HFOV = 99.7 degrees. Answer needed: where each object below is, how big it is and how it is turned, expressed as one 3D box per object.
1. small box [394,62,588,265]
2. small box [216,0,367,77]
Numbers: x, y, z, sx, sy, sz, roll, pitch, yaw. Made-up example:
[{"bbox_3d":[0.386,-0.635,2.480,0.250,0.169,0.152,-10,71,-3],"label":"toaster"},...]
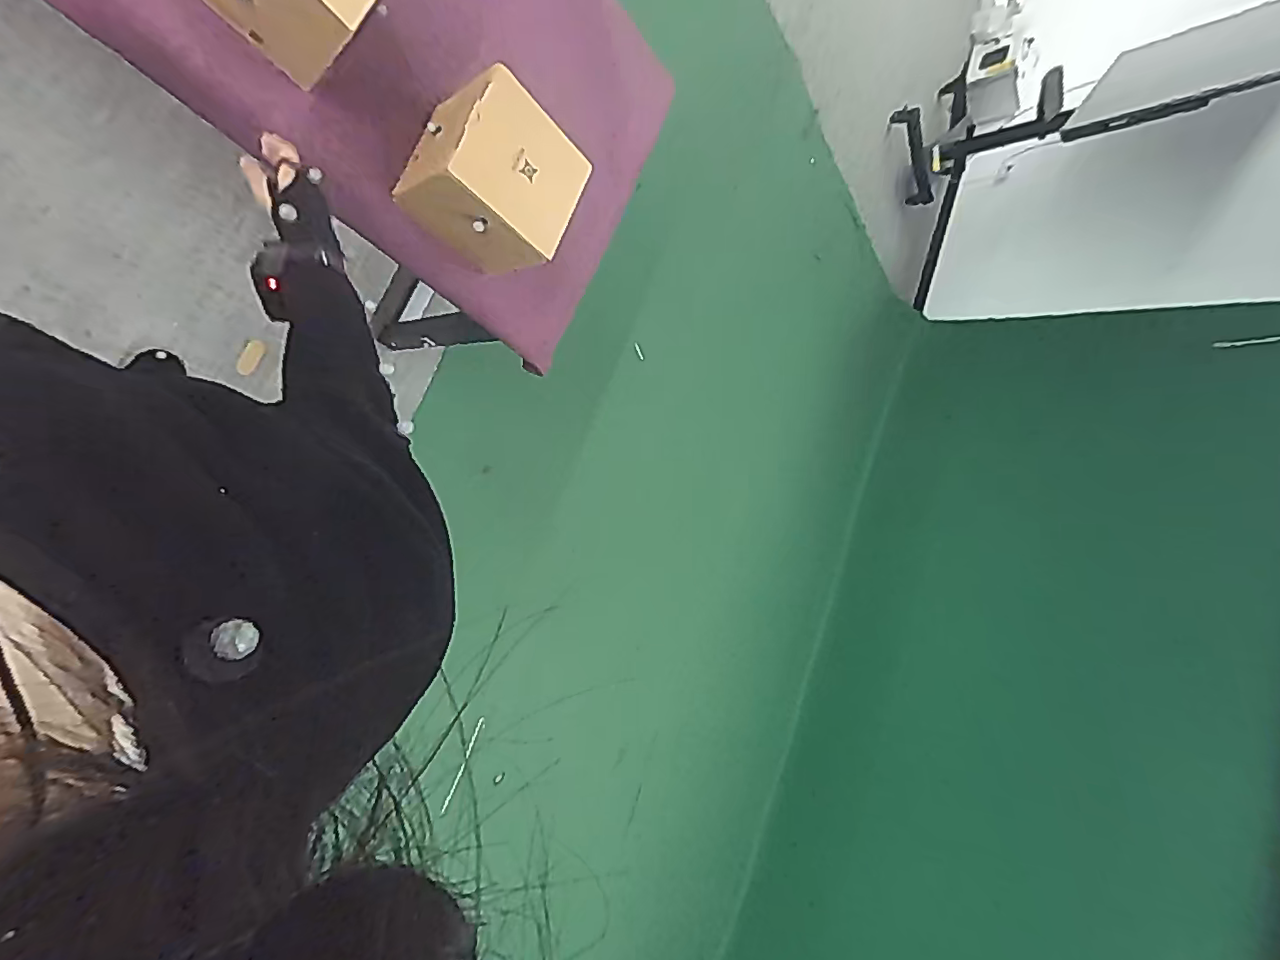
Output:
[{"bbox_3d":[-0.213,-0.431,0.774,0.179,0.176,0.168,30,77,-44],"label":"small box"},{"bbox_3d":[-0.375,-0.585,0.574,0.168,0.176,0.179,35,71,-44],"label":"small box"}]
